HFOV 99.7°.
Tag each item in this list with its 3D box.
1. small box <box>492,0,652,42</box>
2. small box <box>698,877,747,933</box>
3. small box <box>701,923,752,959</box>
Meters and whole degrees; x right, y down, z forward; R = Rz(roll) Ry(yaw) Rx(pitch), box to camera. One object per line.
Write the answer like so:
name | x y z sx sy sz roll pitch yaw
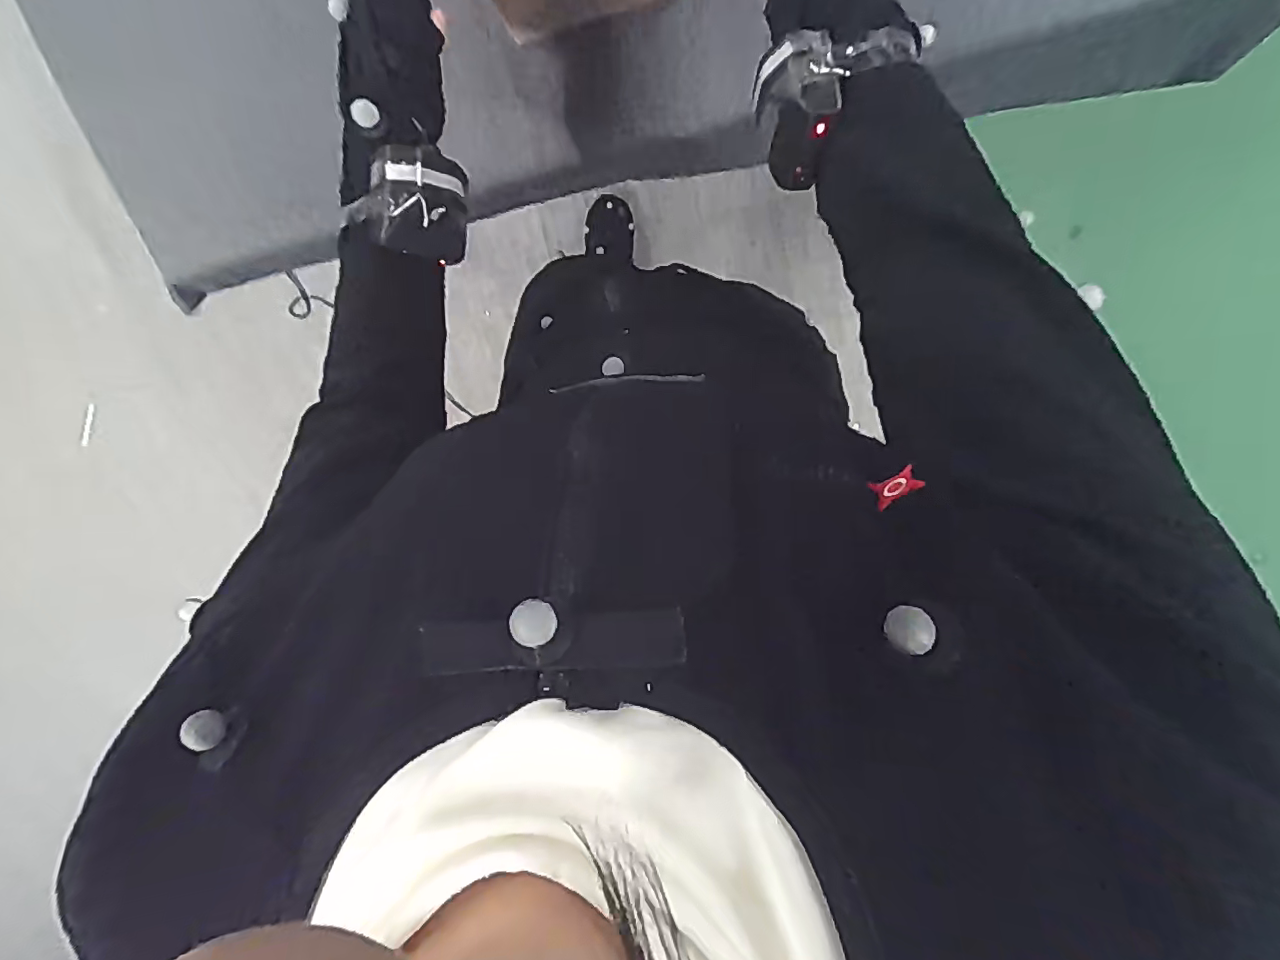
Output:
small box | -0.056 -0.480 0.408 0.179 0.176 0.168 -13 110 8
small box | 0.319 1.687 2.104 0.179 0.176 0.168 -7 113 3
small box | 0.316 1.747 1.955 0.179 0.176 0.168 -9 111 4
